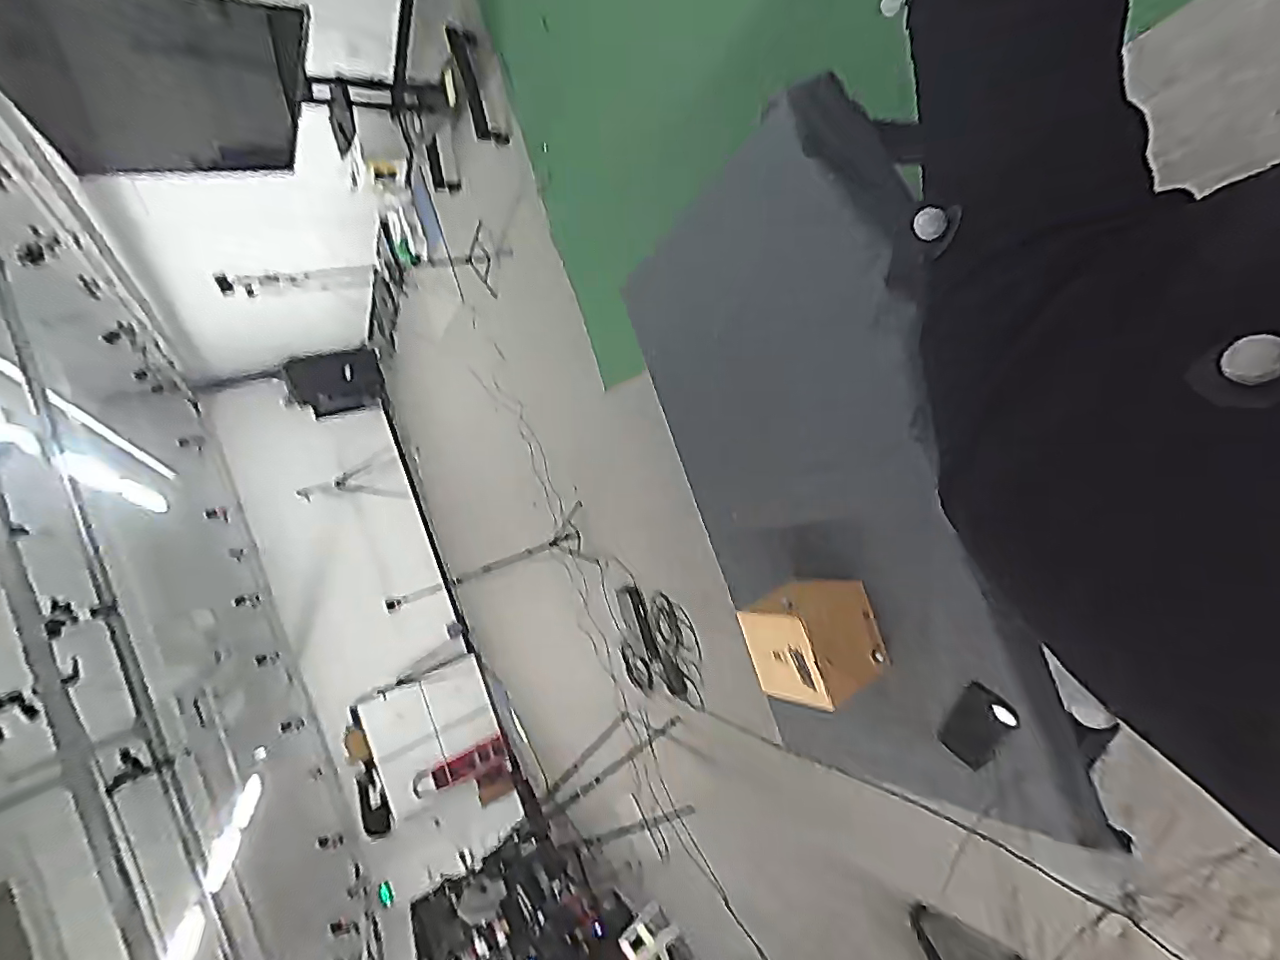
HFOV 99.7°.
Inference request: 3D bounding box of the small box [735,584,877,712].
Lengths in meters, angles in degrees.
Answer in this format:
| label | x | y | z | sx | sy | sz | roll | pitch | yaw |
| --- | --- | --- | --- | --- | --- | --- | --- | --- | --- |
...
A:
| label | x | y | z | sx | sy | sz | roll | pitch | yaw |
| --- | --- | --- | --- | --- | --- | --- | --- | --- | --- |
| small box | 0.316 | 0.302 | 1.014 | 0.179 | 0.176 | 0.168 | -19 | 90 | 60 |
